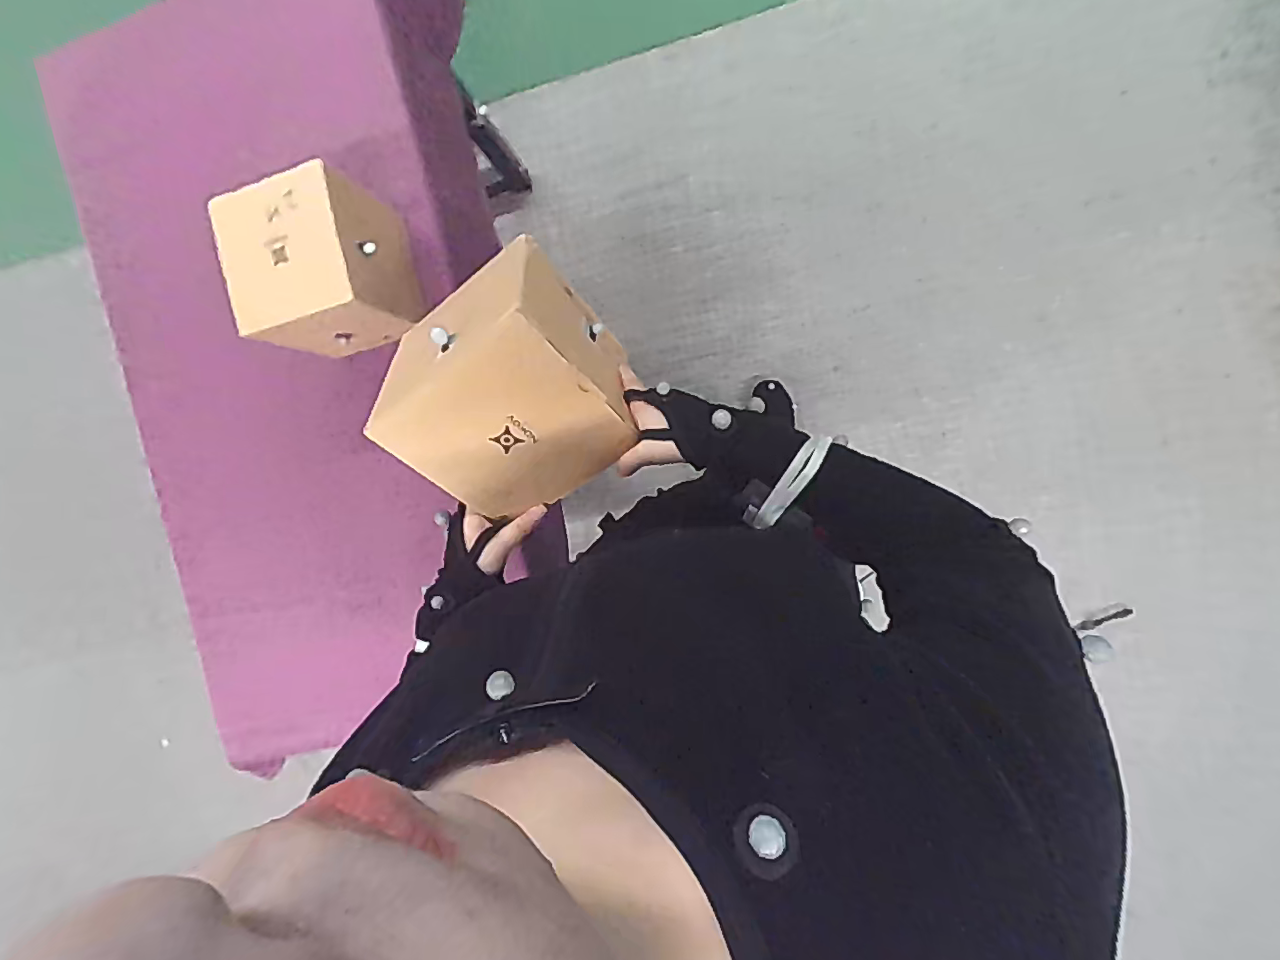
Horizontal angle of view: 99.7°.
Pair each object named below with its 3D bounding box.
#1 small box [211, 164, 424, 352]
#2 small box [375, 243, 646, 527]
[{"bbox_3d":[-0.423,-0.282,0.738,0.168,0.176,0.179,-12,91,9],"label":"small box"},{"bbox_3d":[-0.115,-0.093,0.528,0.179,0.176,0.168,-31,129,17],"label":"small box"}]
